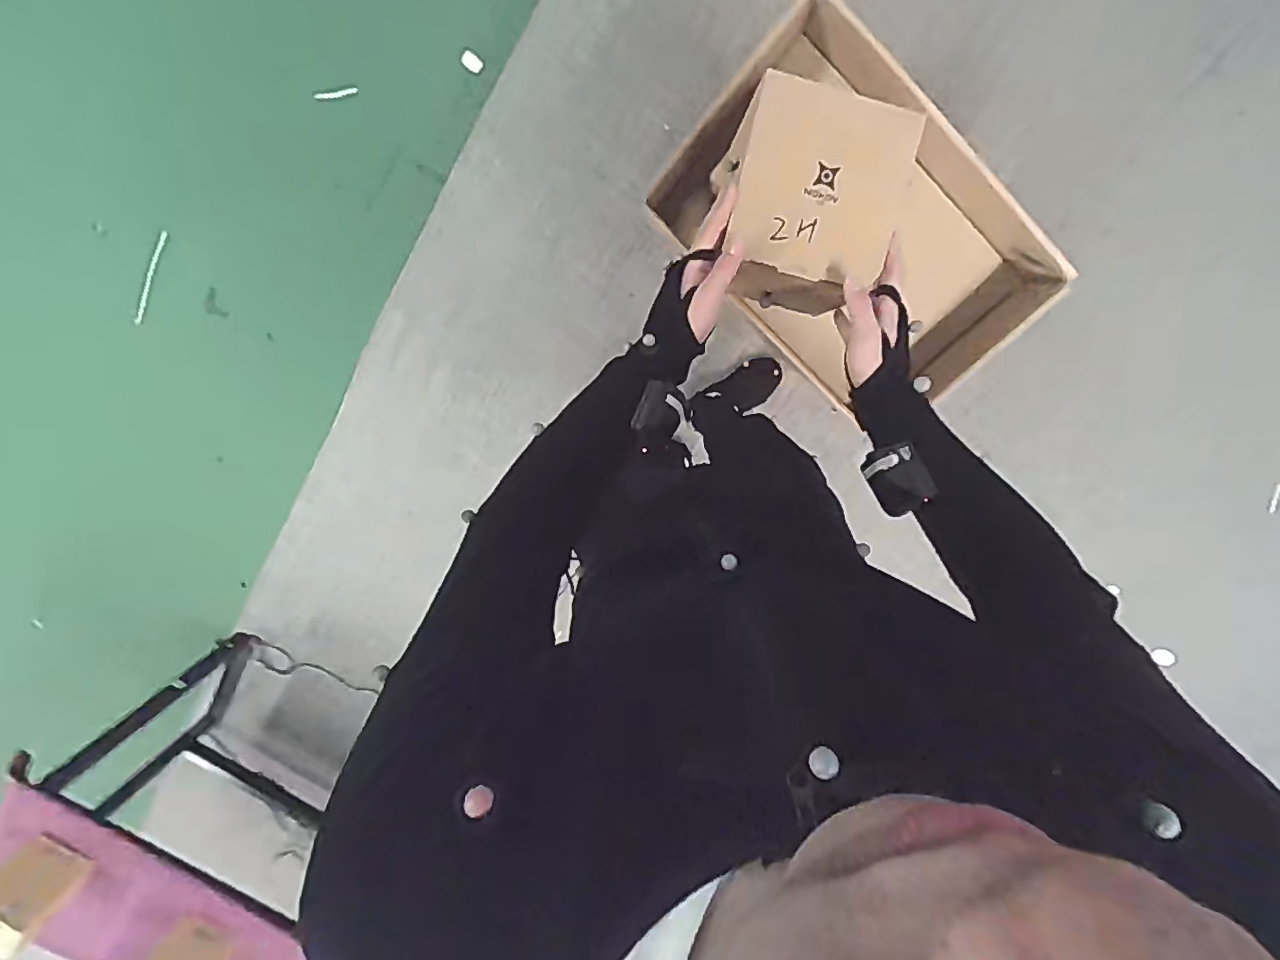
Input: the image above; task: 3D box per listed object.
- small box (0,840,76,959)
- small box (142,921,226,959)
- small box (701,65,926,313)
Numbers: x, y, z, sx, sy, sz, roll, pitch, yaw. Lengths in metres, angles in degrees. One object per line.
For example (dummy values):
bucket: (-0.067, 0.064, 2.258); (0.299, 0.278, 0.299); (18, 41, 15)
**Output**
small box: (-1.557, 1.038, 1.327); (0.168, 0.176, 0.179); (37, 112, -9)
small box: (-1.212, 1.288, 1.380); (0.168, 0.176, 0.179); (36, 110, -7)
small box: (0.172, -0.300, 0.600); (0.168, 0.176, 0.179); (13, 100, -4)
